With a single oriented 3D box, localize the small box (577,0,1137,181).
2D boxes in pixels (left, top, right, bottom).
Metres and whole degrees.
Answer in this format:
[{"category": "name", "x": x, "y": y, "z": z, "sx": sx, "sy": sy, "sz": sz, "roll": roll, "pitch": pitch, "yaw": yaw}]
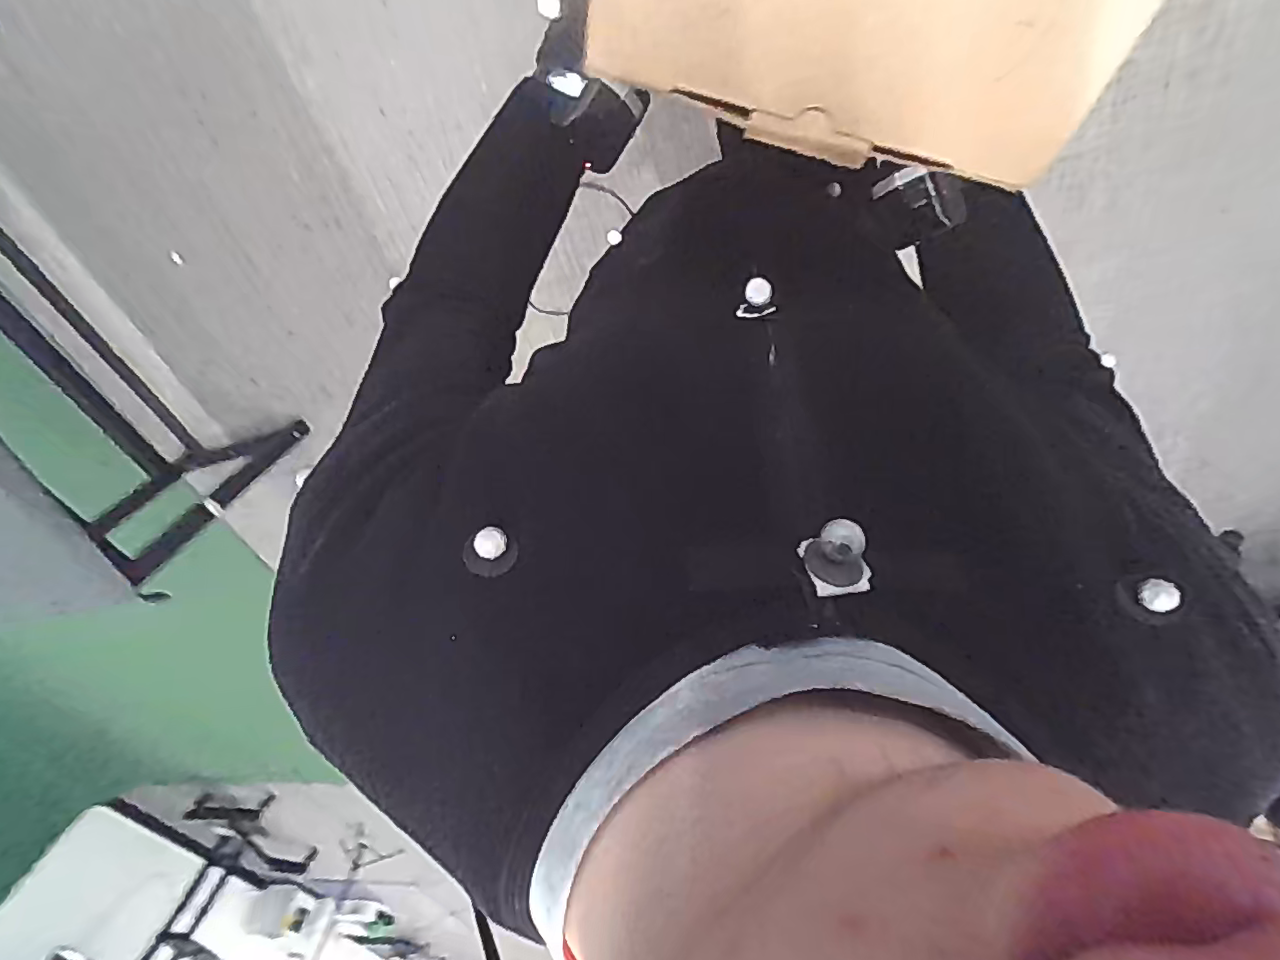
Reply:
[{"category": "small box", "x": 0.085, "y": -0.240, "z": 0.182, "sx": 0.168, "sy": 0.176, "sz": 0.179, "roll": 13, "pitch": 137, "yaw": -3}]
